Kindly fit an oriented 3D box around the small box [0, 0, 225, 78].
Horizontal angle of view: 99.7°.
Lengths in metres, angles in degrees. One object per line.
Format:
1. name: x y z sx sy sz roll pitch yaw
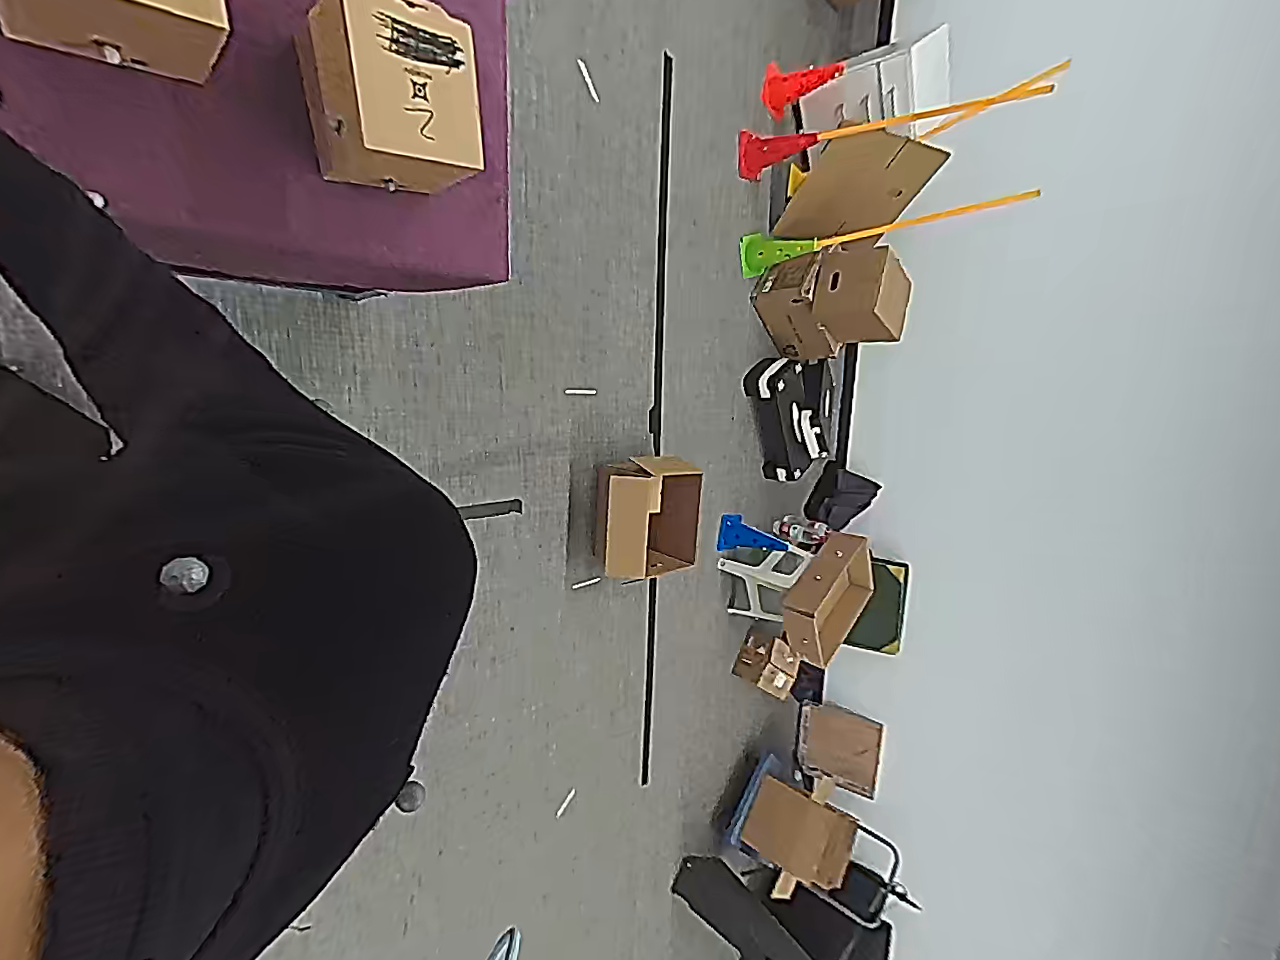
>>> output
1. small box: -0.544 -0.546 0.534 0.168 0.176 0.179 -17 111 -43
